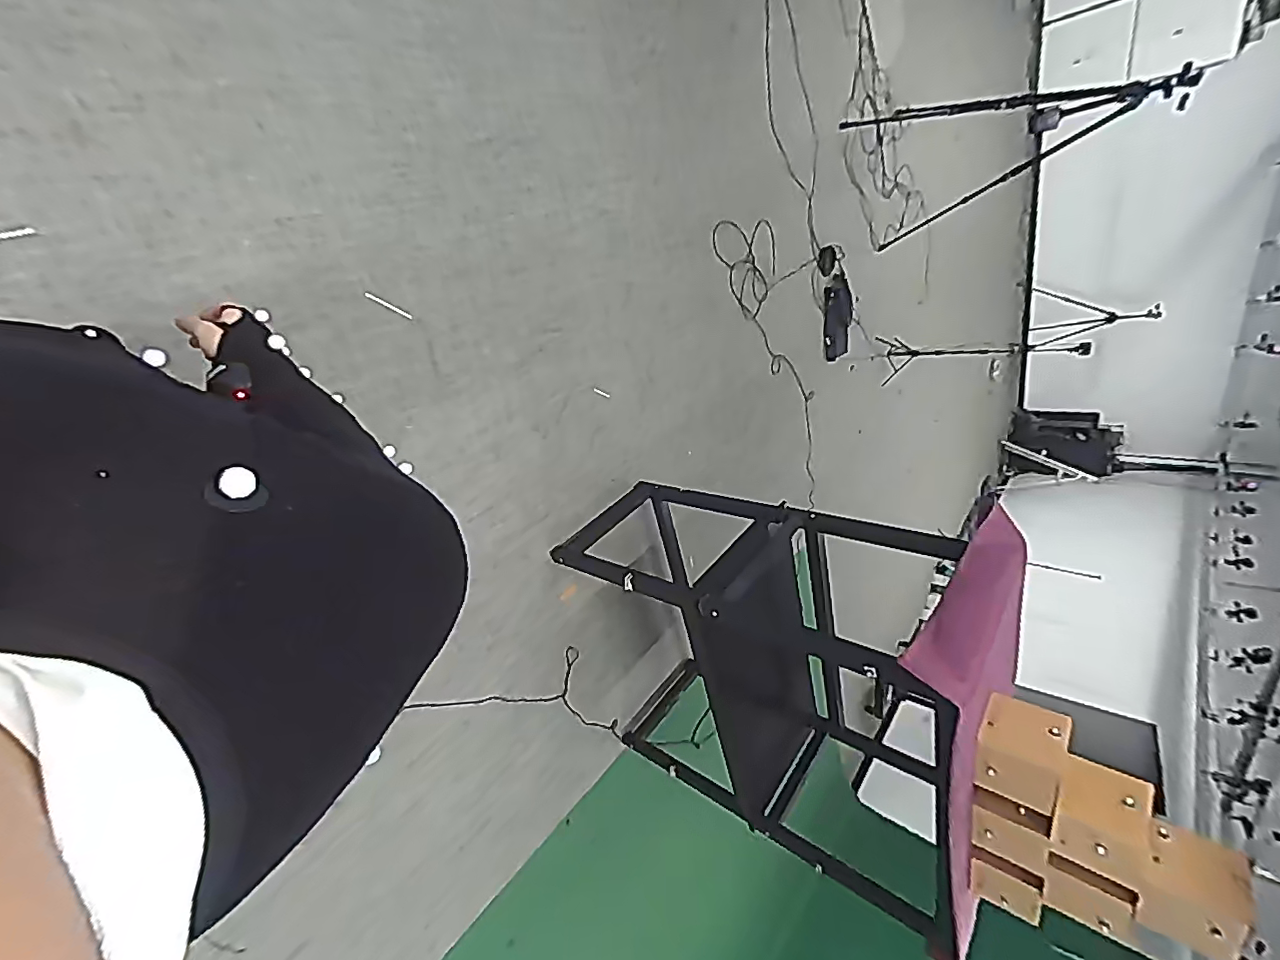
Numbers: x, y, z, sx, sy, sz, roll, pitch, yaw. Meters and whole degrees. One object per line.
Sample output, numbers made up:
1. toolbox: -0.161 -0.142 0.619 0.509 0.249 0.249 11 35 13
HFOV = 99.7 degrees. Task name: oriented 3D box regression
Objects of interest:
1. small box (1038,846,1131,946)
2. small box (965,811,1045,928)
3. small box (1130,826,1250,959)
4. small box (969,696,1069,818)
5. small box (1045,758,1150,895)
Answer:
1. small box: 1.133 1.012 1.378 0.168 0.176 0.179 -36 122 -38
2. small box: 1.048 1.108 1.551 0.179 0.176 0.168 -34 121 -40
3. small box: 1.224 0.925 1.215 0.168 0.176 0.179 -37 123 -38
4. small box: 0.927 0.671 1.330 0.168 0.176 0.179 -37 124 -37
5. small box: 1.075 0.806 1.277 0.179 0.176 0.168 -35 121 -38
